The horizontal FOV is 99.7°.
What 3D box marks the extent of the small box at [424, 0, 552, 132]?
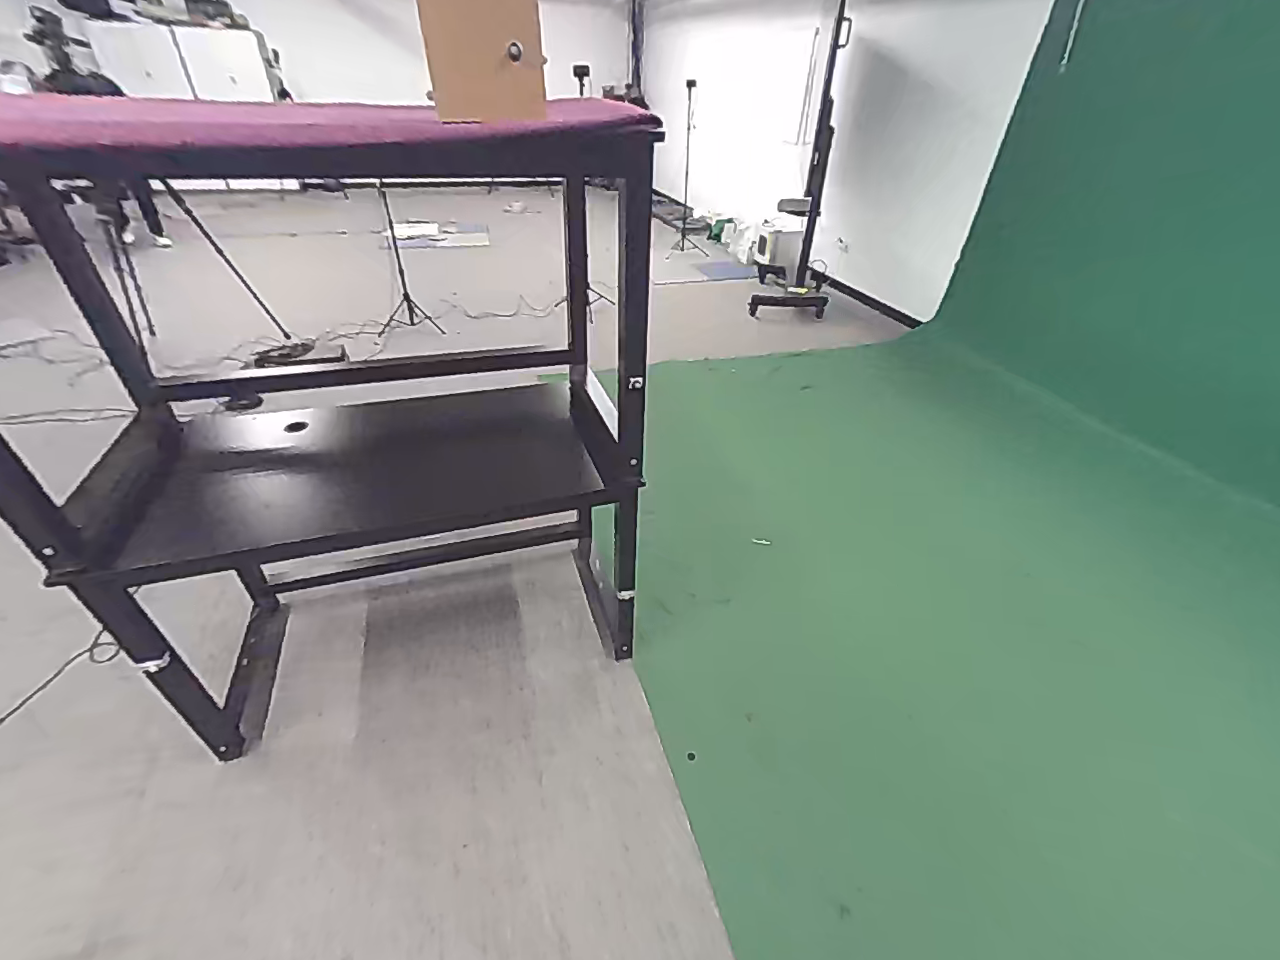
[{"bbox_3d":[-0.239,-0.674,0.883,0.179,0.176,0.168,-8,34,-10],"label":"small box"}]
